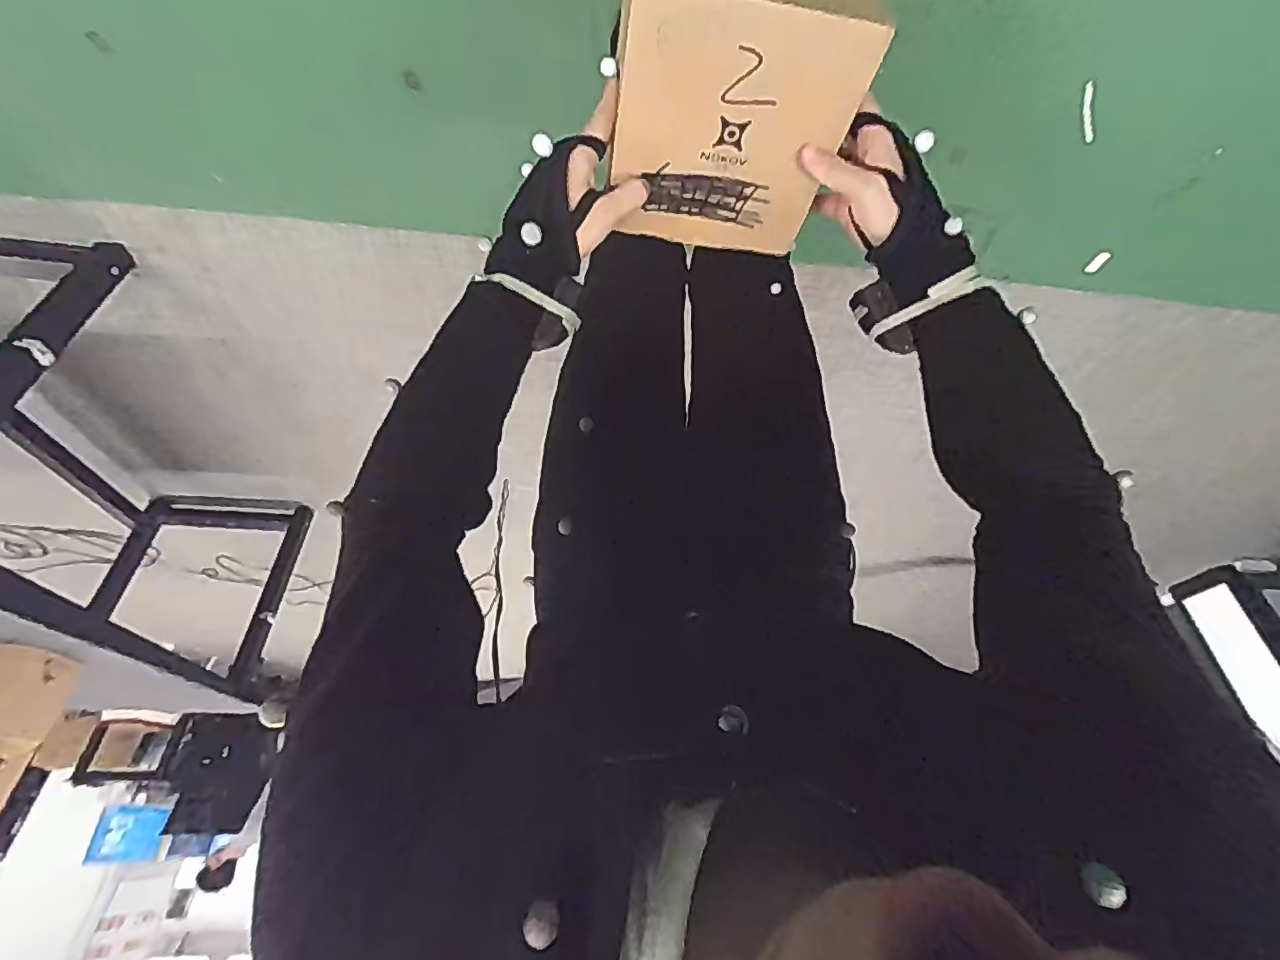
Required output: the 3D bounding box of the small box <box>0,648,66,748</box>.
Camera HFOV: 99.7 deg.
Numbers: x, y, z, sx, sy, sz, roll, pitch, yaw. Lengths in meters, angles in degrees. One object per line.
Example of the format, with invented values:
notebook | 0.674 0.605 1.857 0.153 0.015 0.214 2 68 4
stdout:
small box | -1.398 0.455 1.135 0.179 0.176 0.168 5 146 -6
